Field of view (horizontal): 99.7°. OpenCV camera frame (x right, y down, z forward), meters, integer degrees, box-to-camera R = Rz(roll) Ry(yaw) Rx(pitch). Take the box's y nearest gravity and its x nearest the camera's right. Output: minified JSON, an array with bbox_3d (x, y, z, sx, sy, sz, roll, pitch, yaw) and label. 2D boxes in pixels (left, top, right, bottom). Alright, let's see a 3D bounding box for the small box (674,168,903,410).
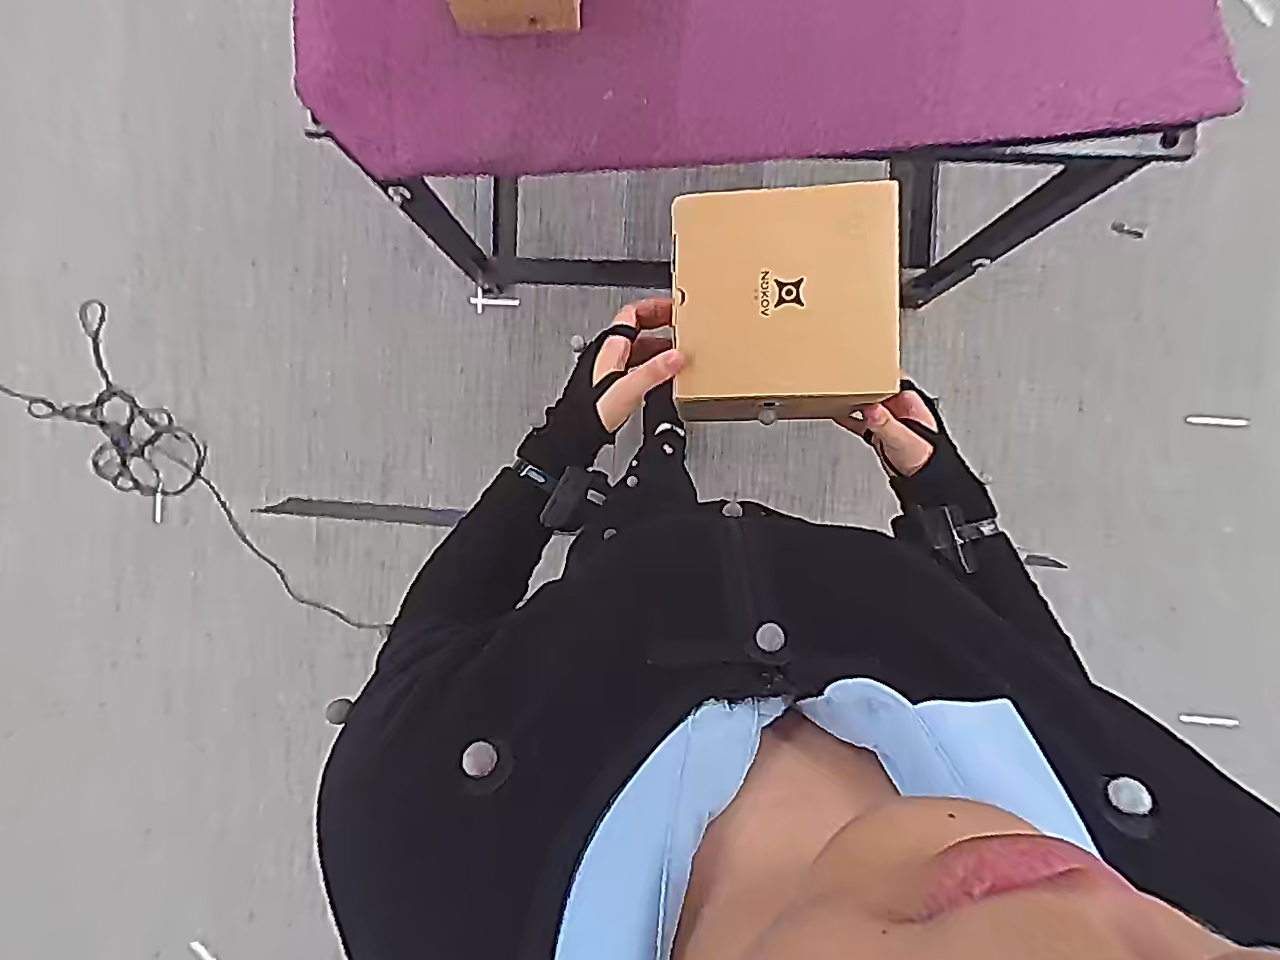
[{"bbox_3d":[0.123,-0.157,0.501,0.179,0.176,0.168,0,90,8],"label":"small box"}]
